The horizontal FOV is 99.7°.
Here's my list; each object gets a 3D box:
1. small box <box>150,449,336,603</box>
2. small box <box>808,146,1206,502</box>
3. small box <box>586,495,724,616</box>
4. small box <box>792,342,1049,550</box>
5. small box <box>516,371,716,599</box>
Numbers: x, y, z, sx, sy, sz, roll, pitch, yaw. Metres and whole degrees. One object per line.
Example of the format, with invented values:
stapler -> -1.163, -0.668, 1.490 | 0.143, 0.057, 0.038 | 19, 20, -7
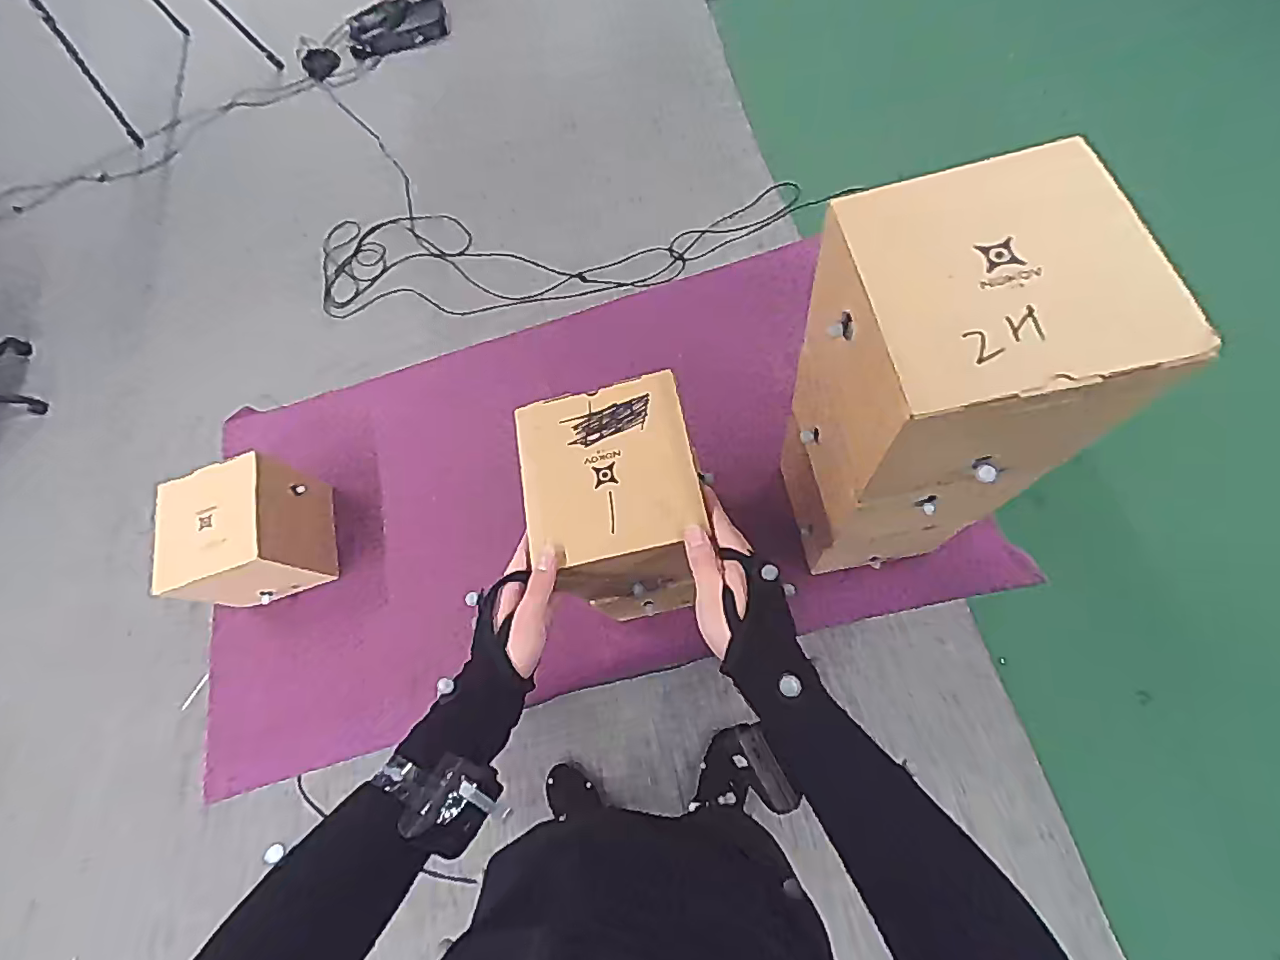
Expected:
small box -> -0.610, 0.080, 0.851 | 0.168, 0.176, 0.179 | -18, 69, 3
small box -> 0.234, -0.101, 0.409 | 0.168, 0.176, 0.179 | -11, 69, 7
small box -> 0.016, 0.082, 0.740 | 0.168, 0.176, 0.179 | -14, 66, 5
small box -> 0.262, -0.042, 0.561 | 0.168, 0.176, 0.179 | -12, 67, 7
small box -> -0.019, 0.016, 0.577 | 0.168, 0.176, 0.179 | -14, 67, 7
